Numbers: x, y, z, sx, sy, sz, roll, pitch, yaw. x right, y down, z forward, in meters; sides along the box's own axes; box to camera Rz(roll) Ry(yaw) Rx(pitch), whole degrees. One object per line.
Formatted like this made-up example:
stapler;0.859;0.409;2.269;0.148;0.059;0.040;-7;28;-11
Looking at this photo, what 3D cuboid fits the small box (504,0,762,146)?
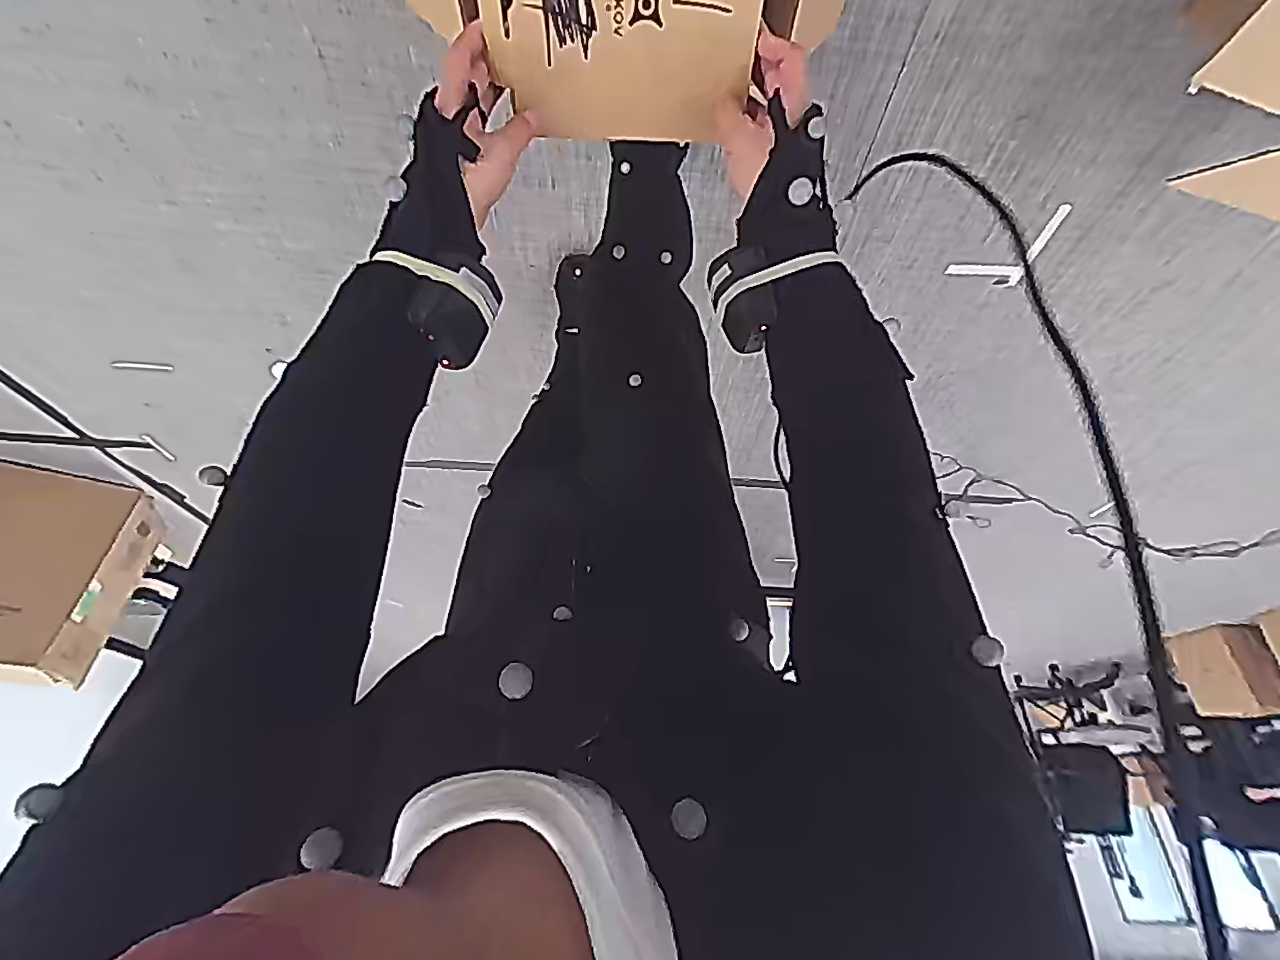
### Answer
small box;-0.008;-0.380;0.413;0.179;0.176;0.168;-1;141;-4
